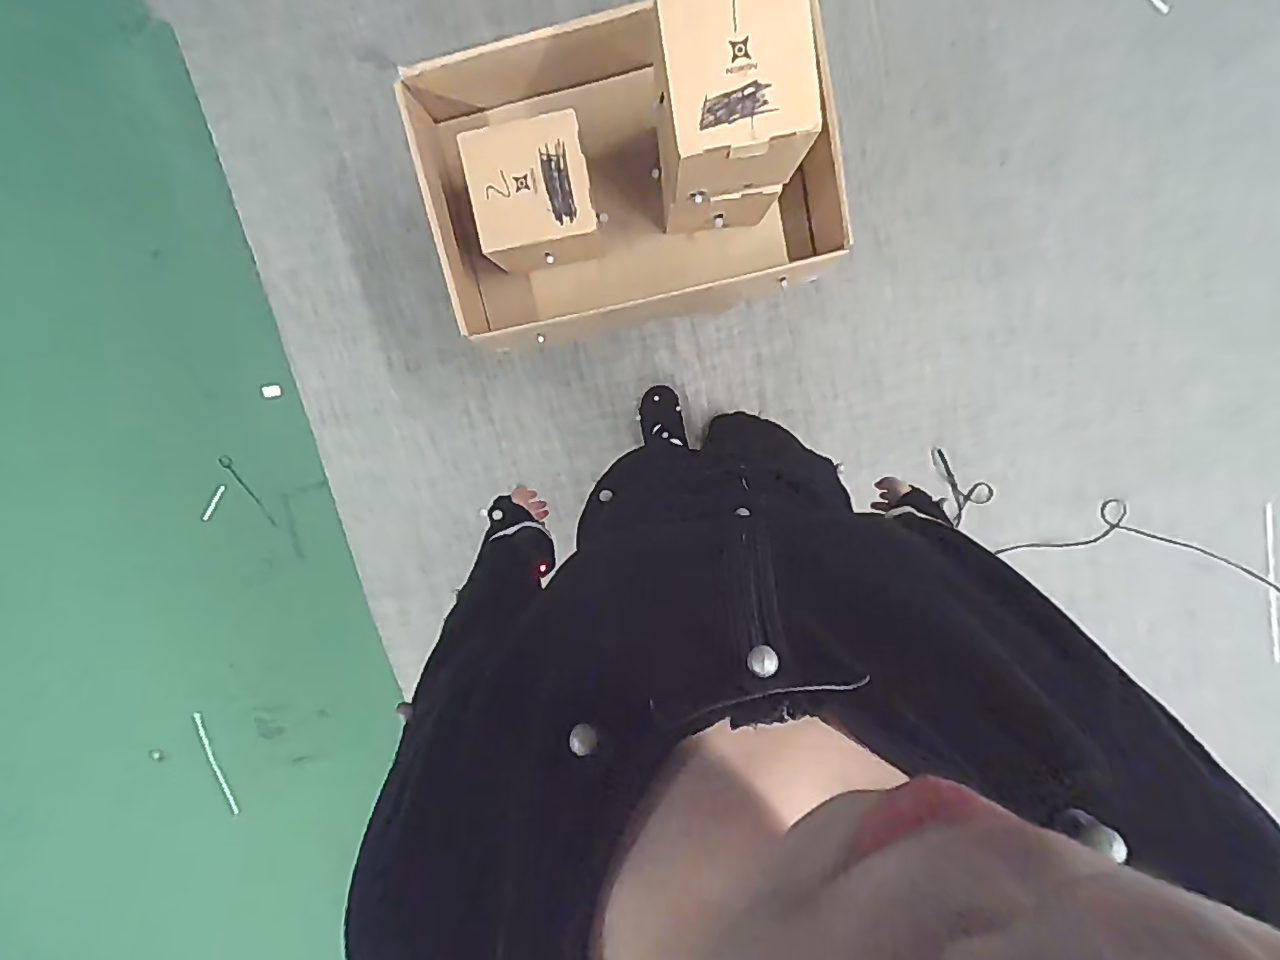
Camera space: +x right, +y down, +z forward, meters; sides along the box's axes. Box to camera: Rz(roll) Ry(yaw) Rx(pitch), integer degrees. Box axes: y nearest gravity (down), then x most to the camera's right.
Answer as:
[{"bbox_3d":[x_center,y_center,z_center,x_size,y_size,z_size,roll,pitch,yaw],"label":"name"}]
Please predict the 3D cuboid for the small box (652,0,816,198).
[{"bbox_3d":[0.109,-0.476,0.679,0.168,0.176,0.179,-9,99,2],"label":"small box"}]
